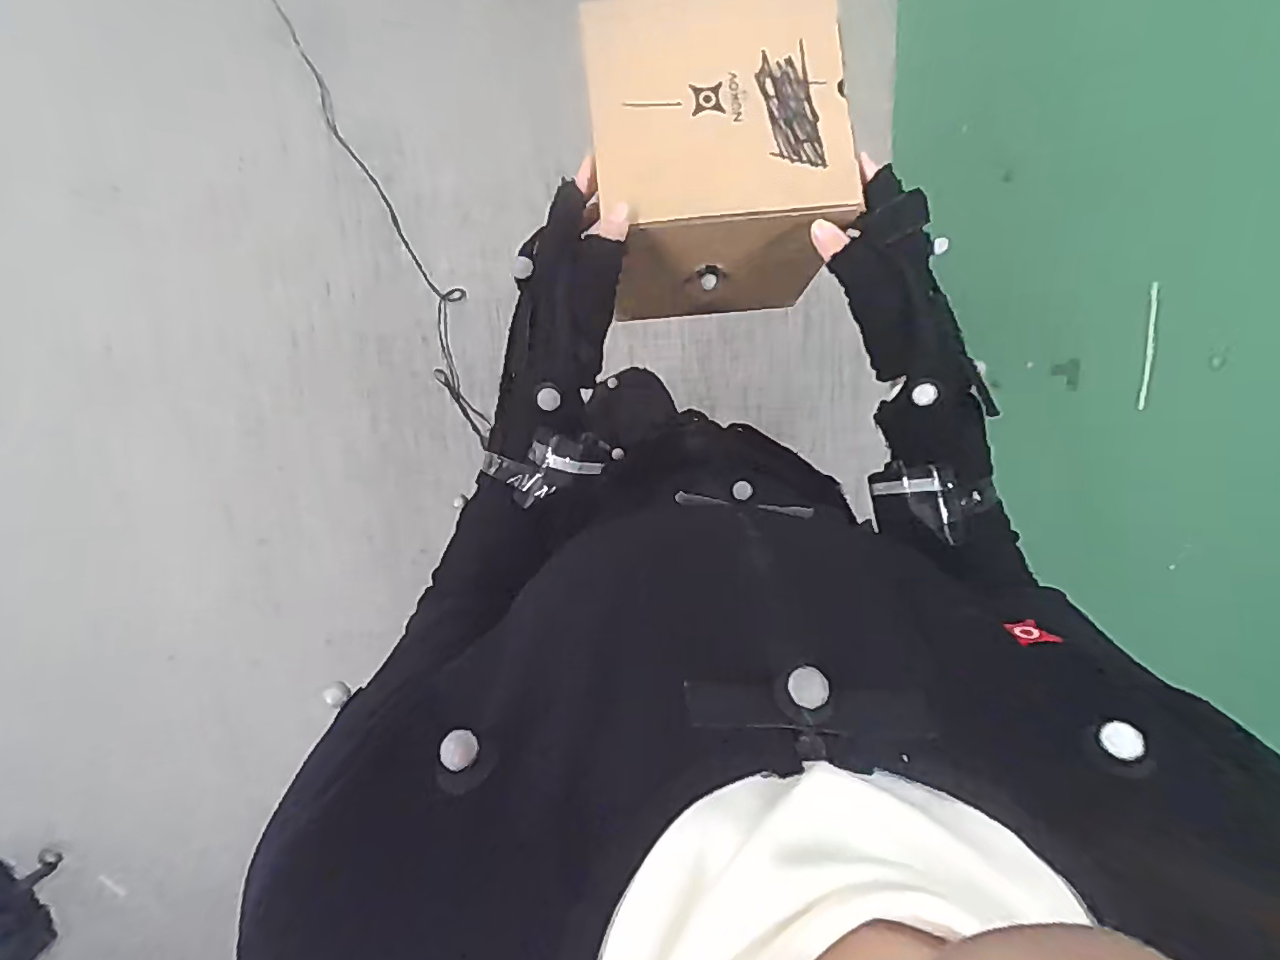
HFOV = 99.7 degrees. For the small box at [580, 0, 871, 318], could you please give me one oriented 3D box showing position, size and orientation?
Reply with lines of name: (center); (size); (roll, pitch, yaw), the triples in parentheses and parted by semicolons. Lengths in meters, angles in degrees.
small box: (0.054, -0.247, 0.436); (0.179, 0.176, 0.168); (-9, 86, -2)
